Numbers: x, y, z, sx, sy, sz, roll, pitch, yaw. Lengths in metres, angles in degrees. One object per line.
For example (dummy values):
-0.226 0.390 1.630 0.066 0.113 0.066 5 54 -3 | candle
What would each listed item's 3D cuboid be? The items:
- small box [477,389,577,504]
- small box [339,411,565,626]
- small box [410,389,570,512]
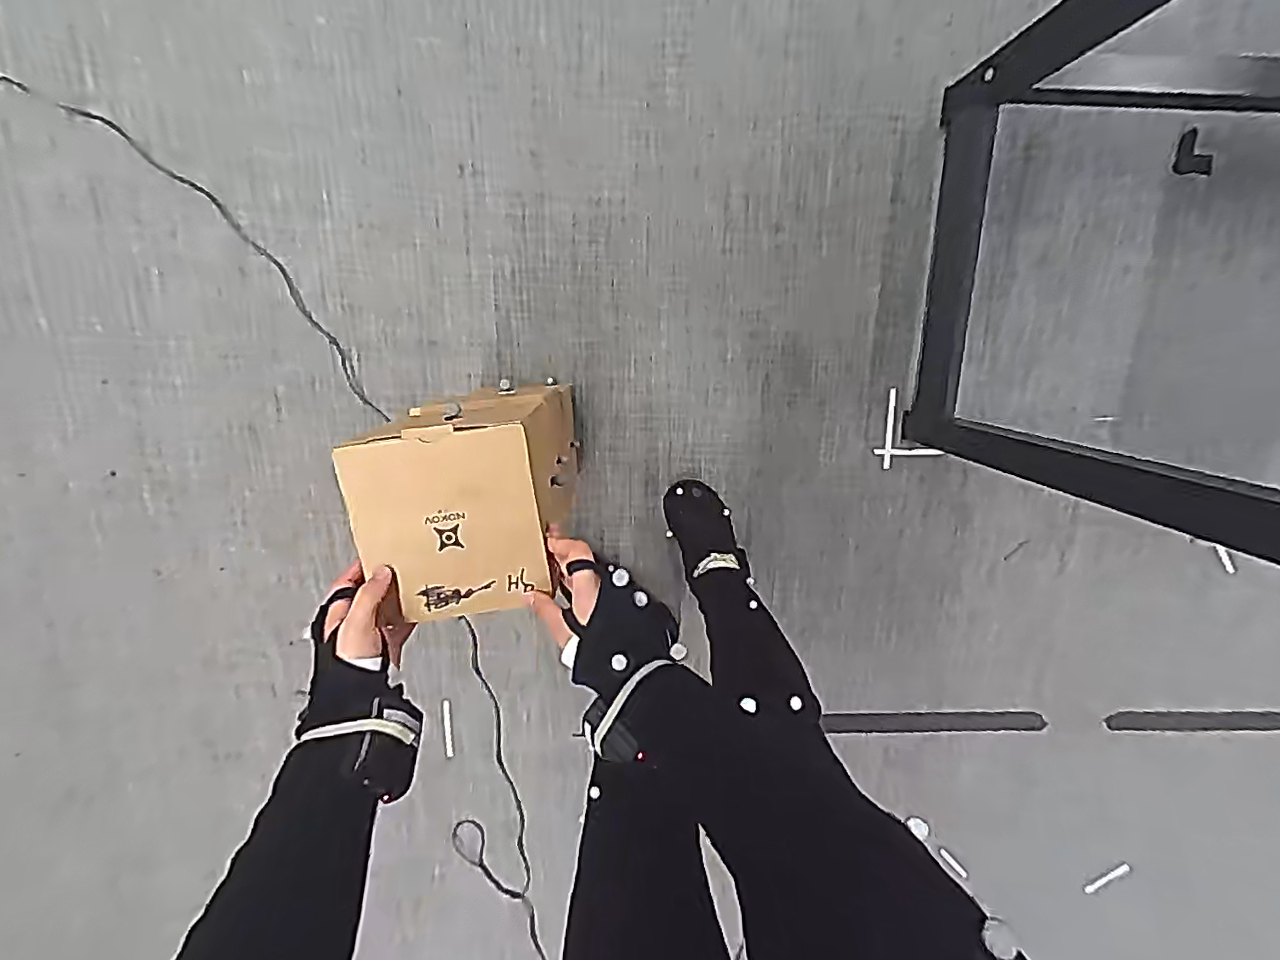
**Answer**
-0.199 -0.060 0.911 0.168 0.176 0.179 -4 105 -1 | small box
-0.175 0.025 0.563 0.168 0.176 0.179 -8 104 -2 | small box
-0.194 -0.027 0.752 0.168 0.176 0.179 -7 103 -2 | small box
